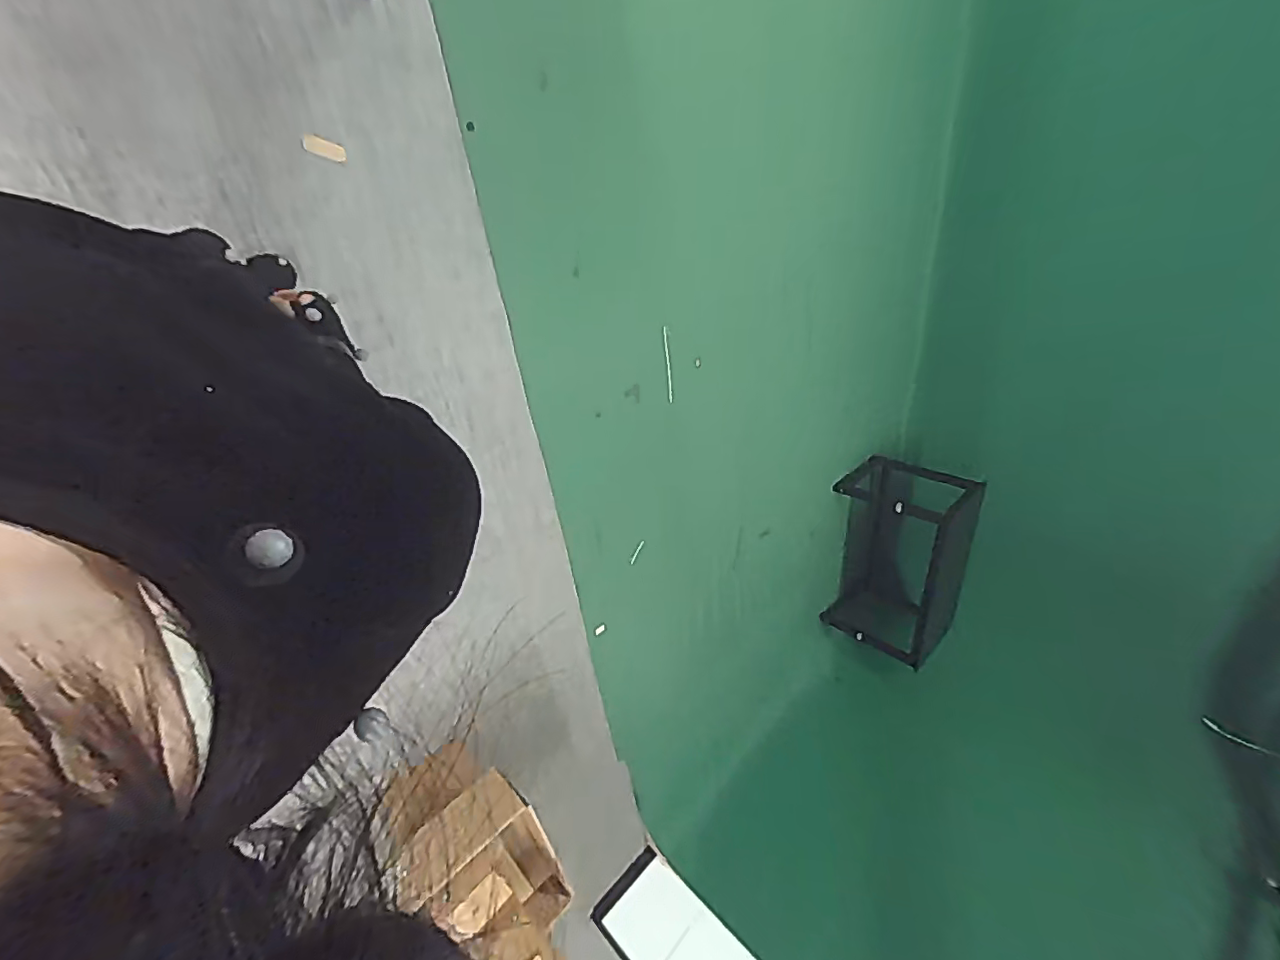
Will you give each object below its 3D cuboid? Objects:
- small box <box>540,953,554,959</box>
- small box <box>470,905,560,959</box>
[{"bbox_3d":[-0.247,1.411,1.424,0.168,0.176,0.179,-34,126,-31],"label":"small box"},{"bbox_3d":[-0.353,1.368,1.540,0.168,0.176,0.179,-37,128,-30],"label":"small box"}]
